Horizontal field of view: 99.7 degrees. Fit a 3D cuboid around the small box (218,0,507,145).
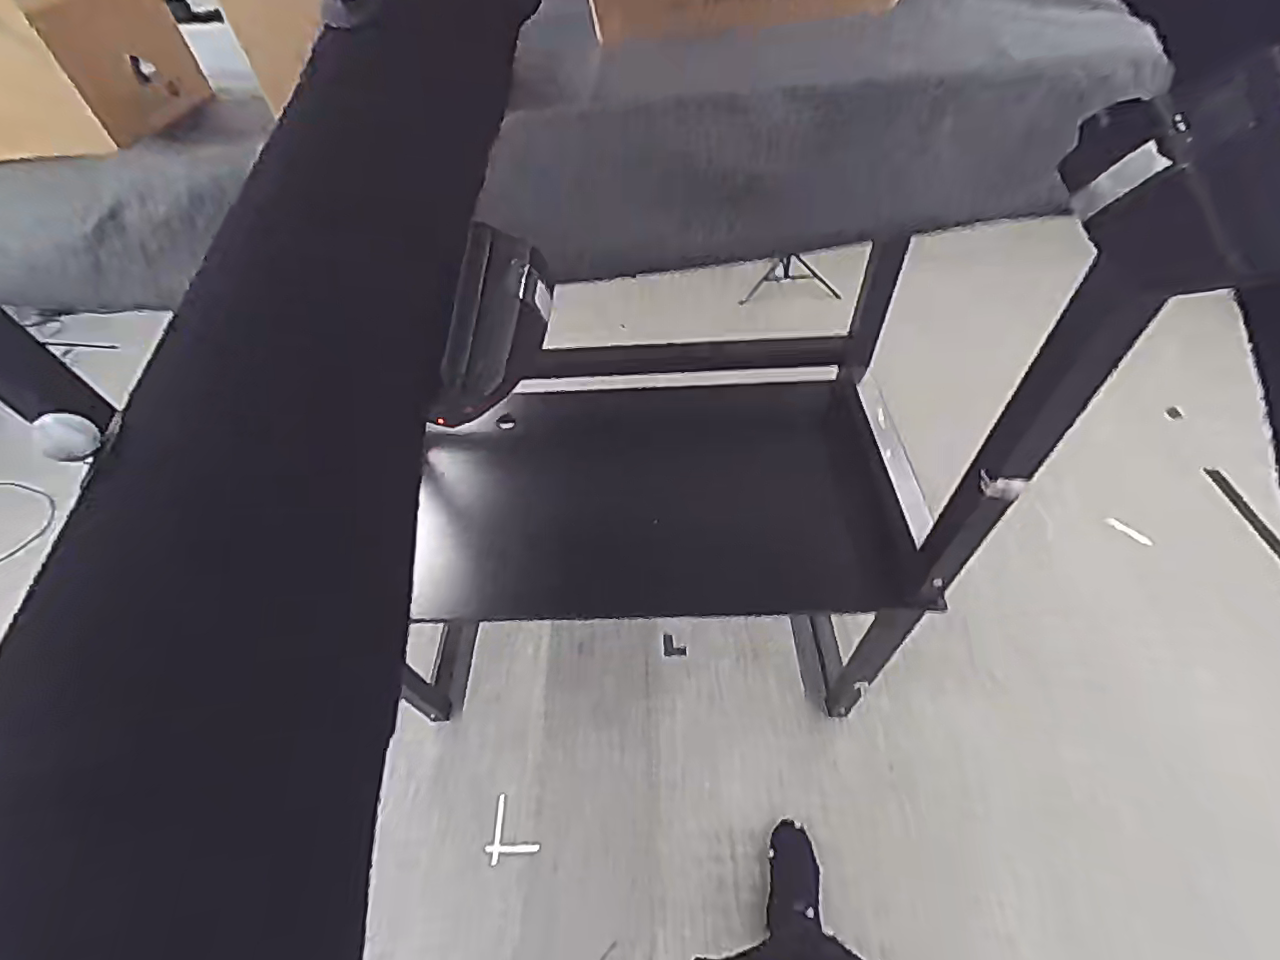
[{"bbox_3d":[-0.221,-0.403,0.449,0.179,0.176,0.168,-3,51,2],"label":"small box"}]
